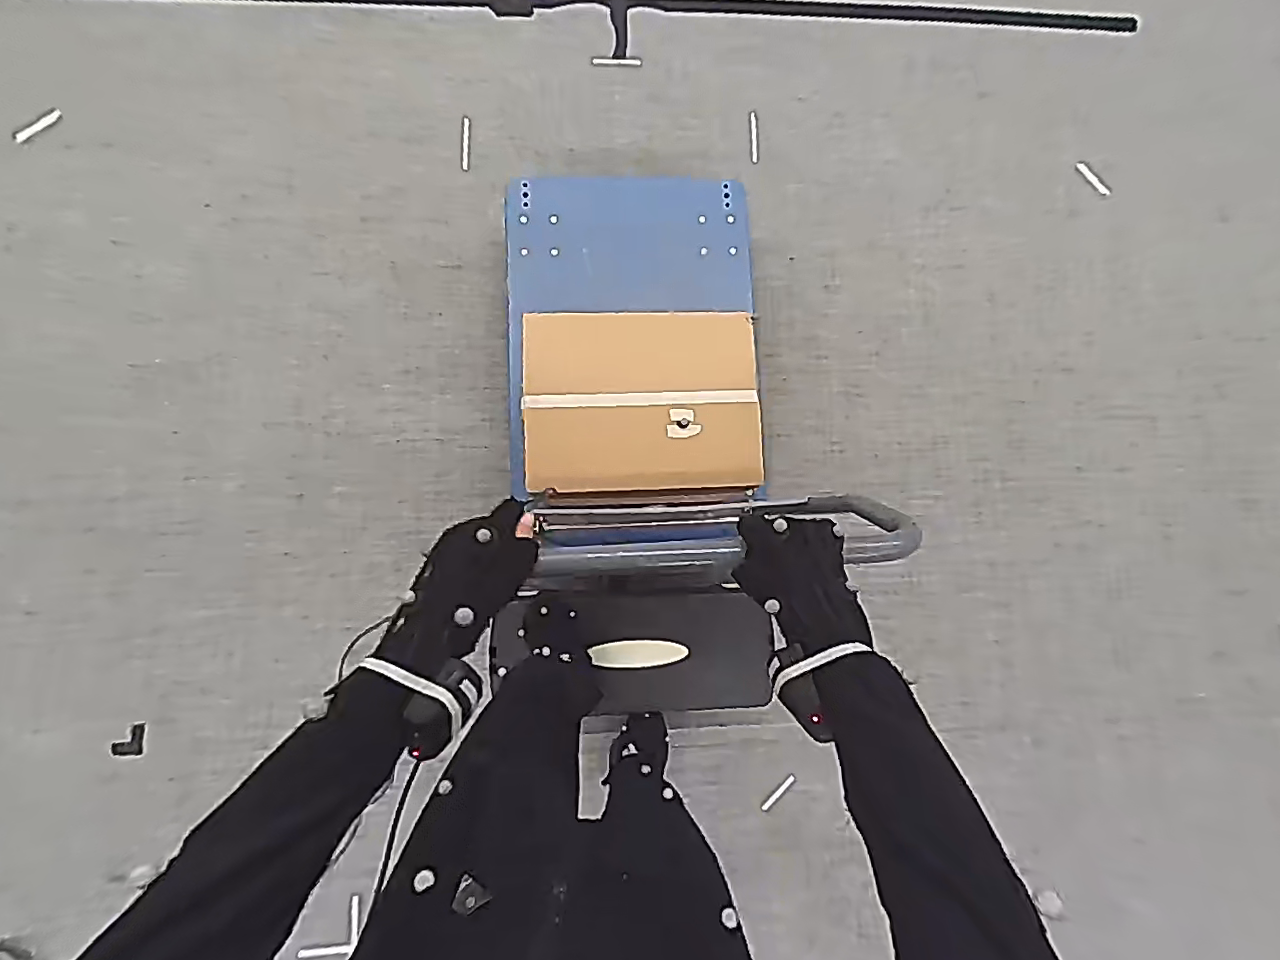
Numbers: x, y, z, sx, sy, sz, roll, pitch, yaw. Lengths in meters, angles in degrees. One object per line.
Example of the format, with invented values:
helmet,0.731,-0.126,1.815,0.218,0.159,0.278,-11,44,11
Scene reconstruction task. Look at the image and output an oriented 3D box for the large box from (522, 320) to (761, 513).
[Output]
large box,-0.012,-0.106,1.068,0.408,0.320,0.320,-2,84,-5
